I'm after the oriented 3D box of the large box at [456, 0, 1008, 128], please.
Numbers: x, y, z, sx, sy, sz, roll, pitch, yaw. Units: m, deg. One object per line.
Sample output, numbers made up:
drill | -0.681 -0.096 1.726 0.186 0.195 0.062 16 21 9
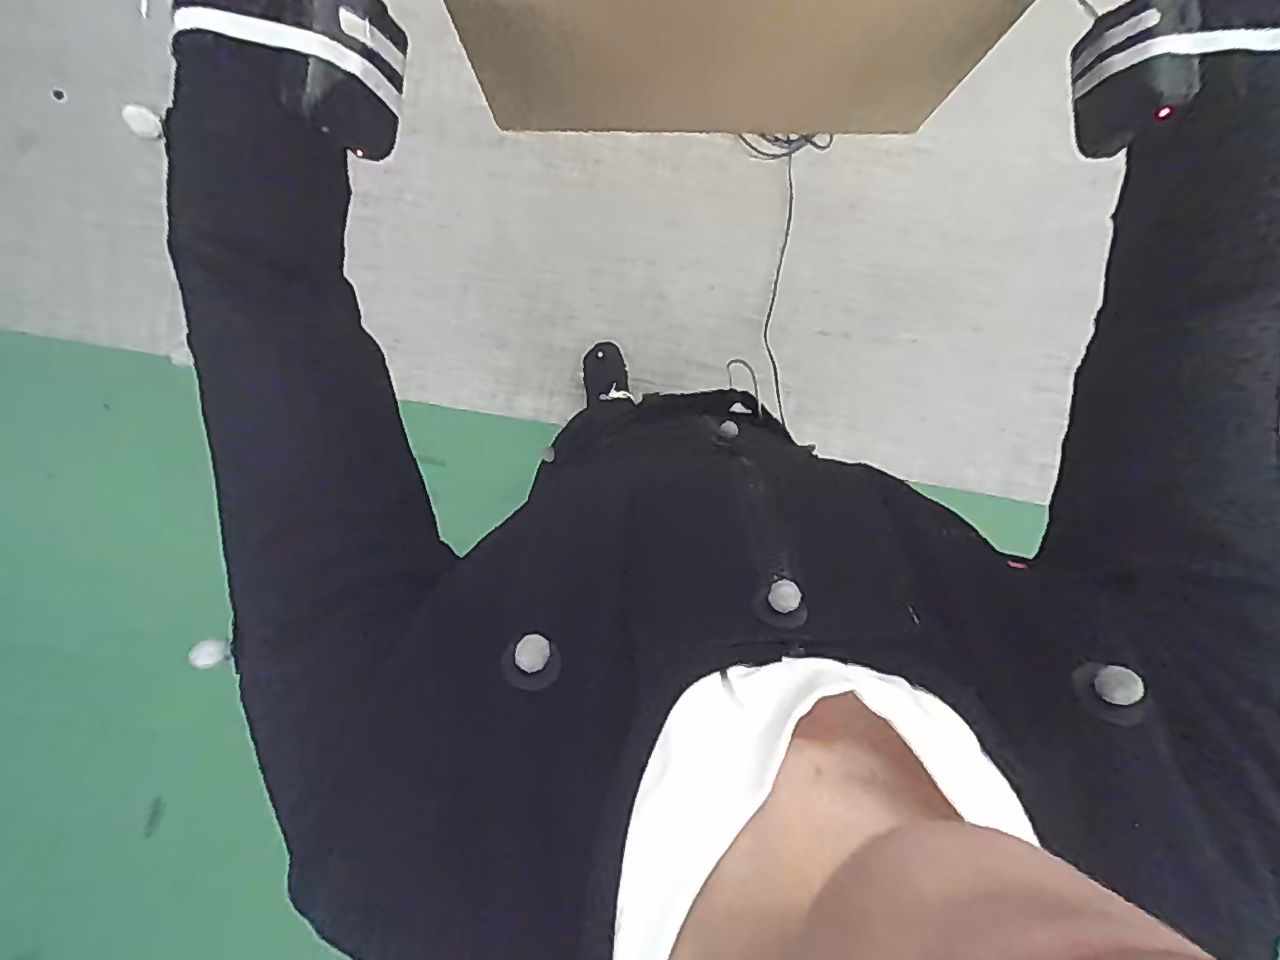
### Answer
large box | 0.064 -0.484 0.367 0.408 0.320 0.320 -1 94 -2
